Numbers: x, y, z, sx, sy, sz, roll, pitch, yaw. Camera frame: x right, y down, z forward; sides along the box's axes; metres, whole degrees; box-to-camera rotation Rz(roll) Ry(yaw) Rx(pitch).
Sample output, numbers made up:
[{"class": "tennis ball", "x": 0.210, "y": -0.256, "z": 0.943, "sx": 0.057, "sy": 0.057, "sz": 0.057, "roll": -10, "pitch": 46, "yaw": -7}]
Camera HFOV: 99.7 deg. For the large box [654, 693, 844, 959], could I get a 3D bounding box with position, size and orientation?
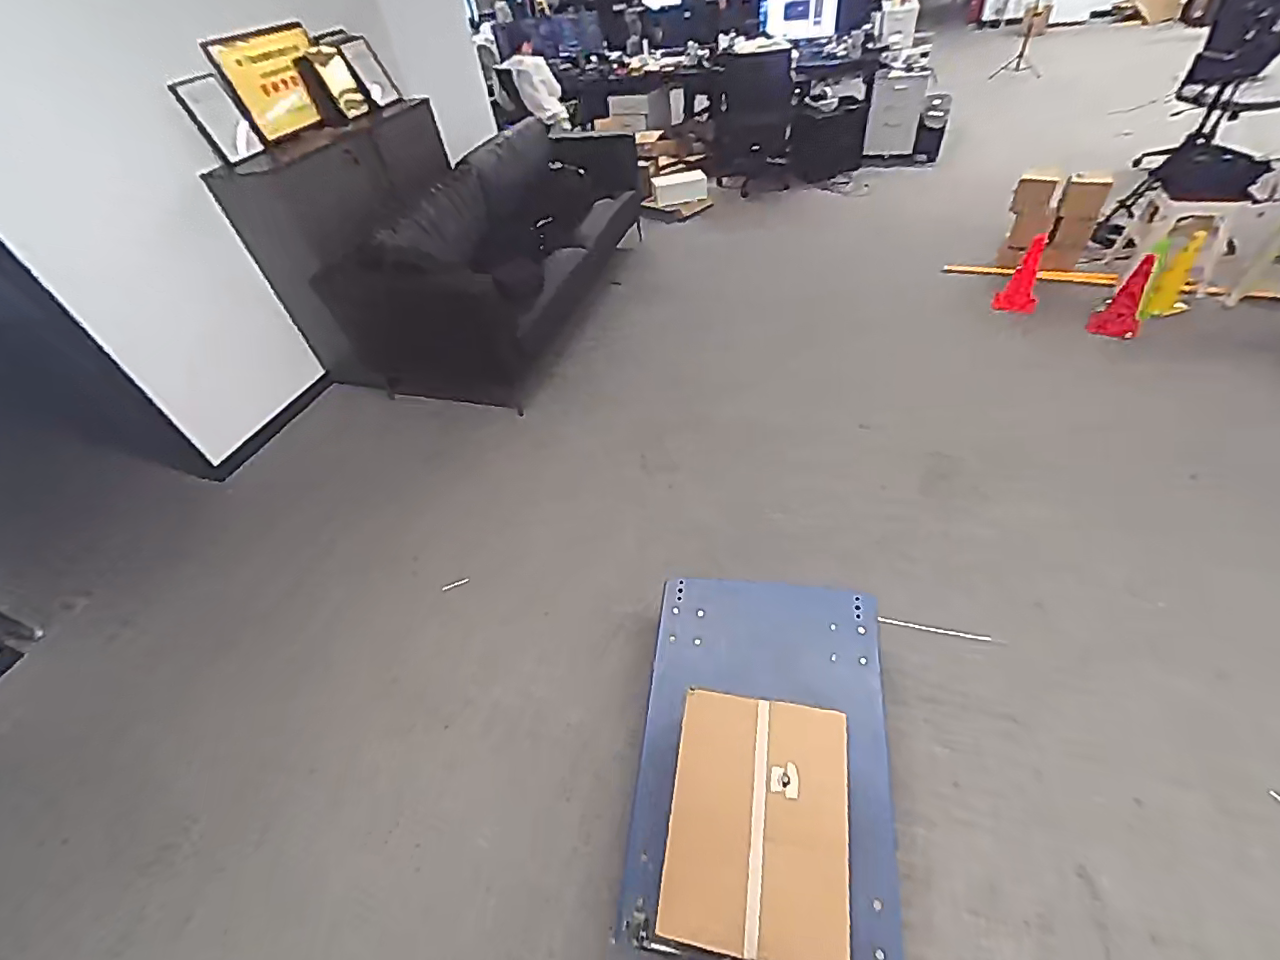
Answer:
[{"class": "large box", "x": 0.227, "y": 0.702, "z": 1.106, "sx": 0.320, "sy": 0.320, "sz": 0.408, "roll": 5, "pitch": 56, "yaw": 12}]
